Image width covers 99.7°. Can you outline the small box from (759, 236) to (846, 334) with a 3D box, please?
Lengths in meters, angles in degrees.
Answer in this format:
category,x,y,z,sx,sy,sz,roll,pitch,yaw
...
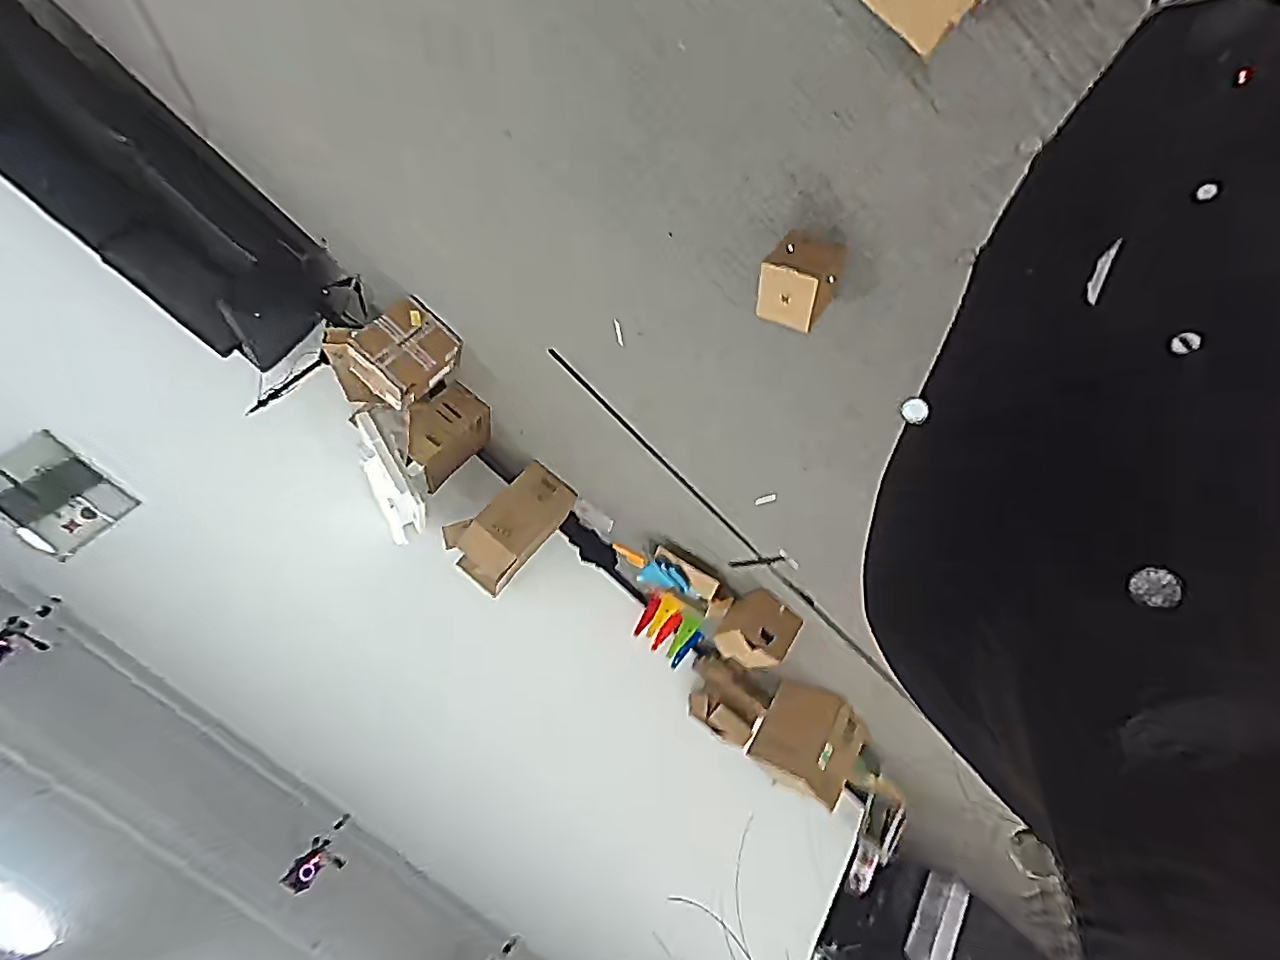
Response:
category,x,y,z,sx,sy,sz,roll,pitch,yaw
small box,0.452,-0.547,1.504,0.168,0.176,0.179,29,153,25

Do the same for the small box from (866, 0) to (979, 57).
category,x,y,z,sx,sy,sz,roll,pitch,yaw
small box,0.512,-0.875,0.905,0.179,0.176,0.168,40,154,-2
